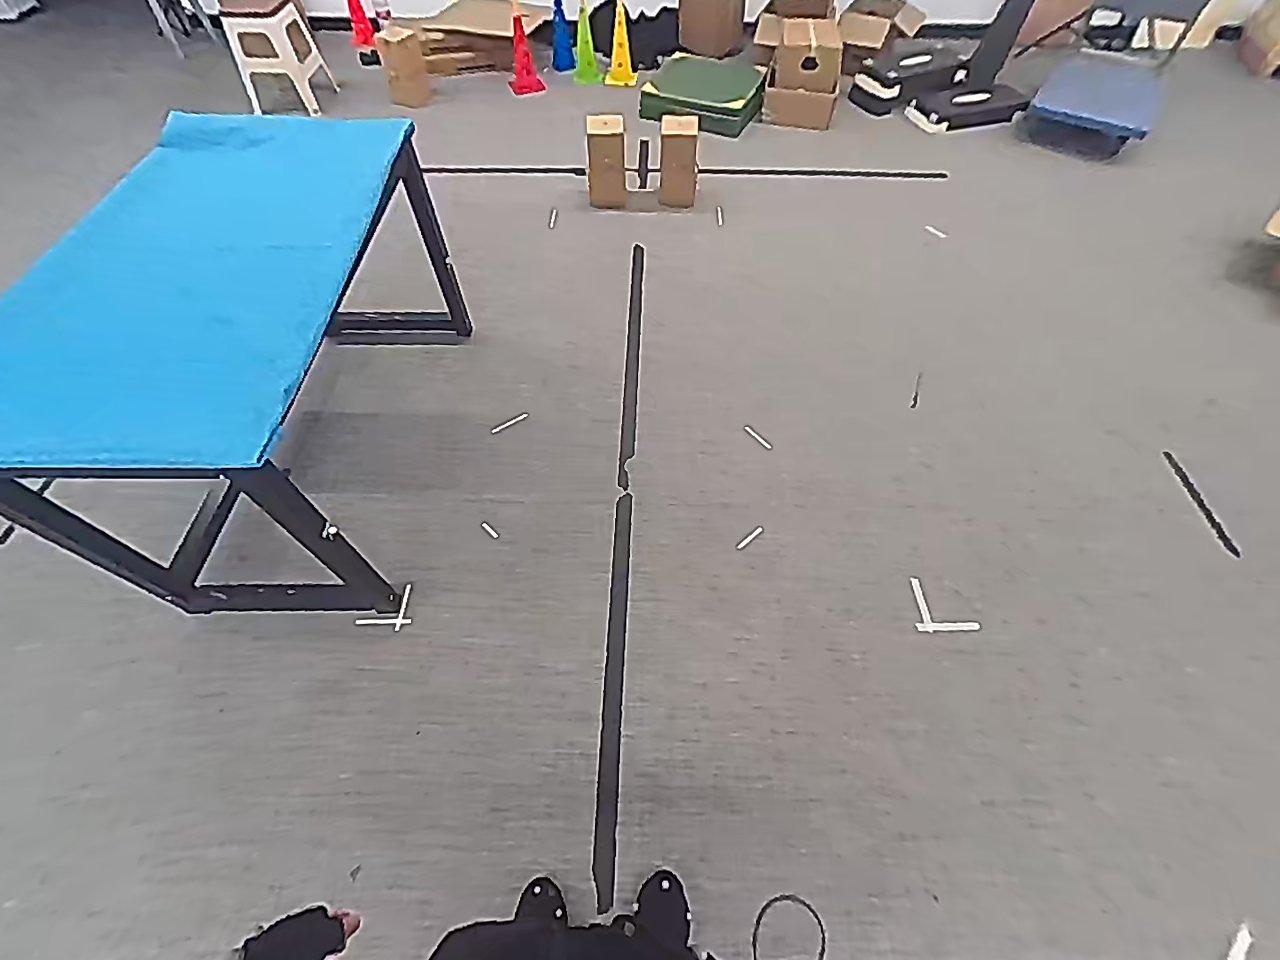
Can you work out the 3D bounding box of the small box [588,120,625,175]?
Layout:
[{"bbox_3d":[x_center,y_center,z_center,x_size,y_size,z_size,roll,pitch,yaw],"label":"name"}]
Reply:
[{"bbox_3d":[-0.154,-1.537,2.499,0.168,0.176,0.179,-2,56,-2],"label":"small box"}]

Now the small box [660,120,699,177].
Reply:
[{"bbox_3d":[0.181,-1.540,2.509,0.168,0.176,0.179,4,57,3],"label":"small box"}]

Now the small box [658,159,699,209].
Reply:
[{"bbox_3d":[0.187,-1.452,2.647,0.179,0.176,0.168,5,56,1],"label":"small box"}]

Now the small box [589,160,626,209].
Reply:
[{"bbox_3d":[-0.156,-1.442,2.633,0.179,0.176,0.168,0,56,-2],"label":"small box"}]
